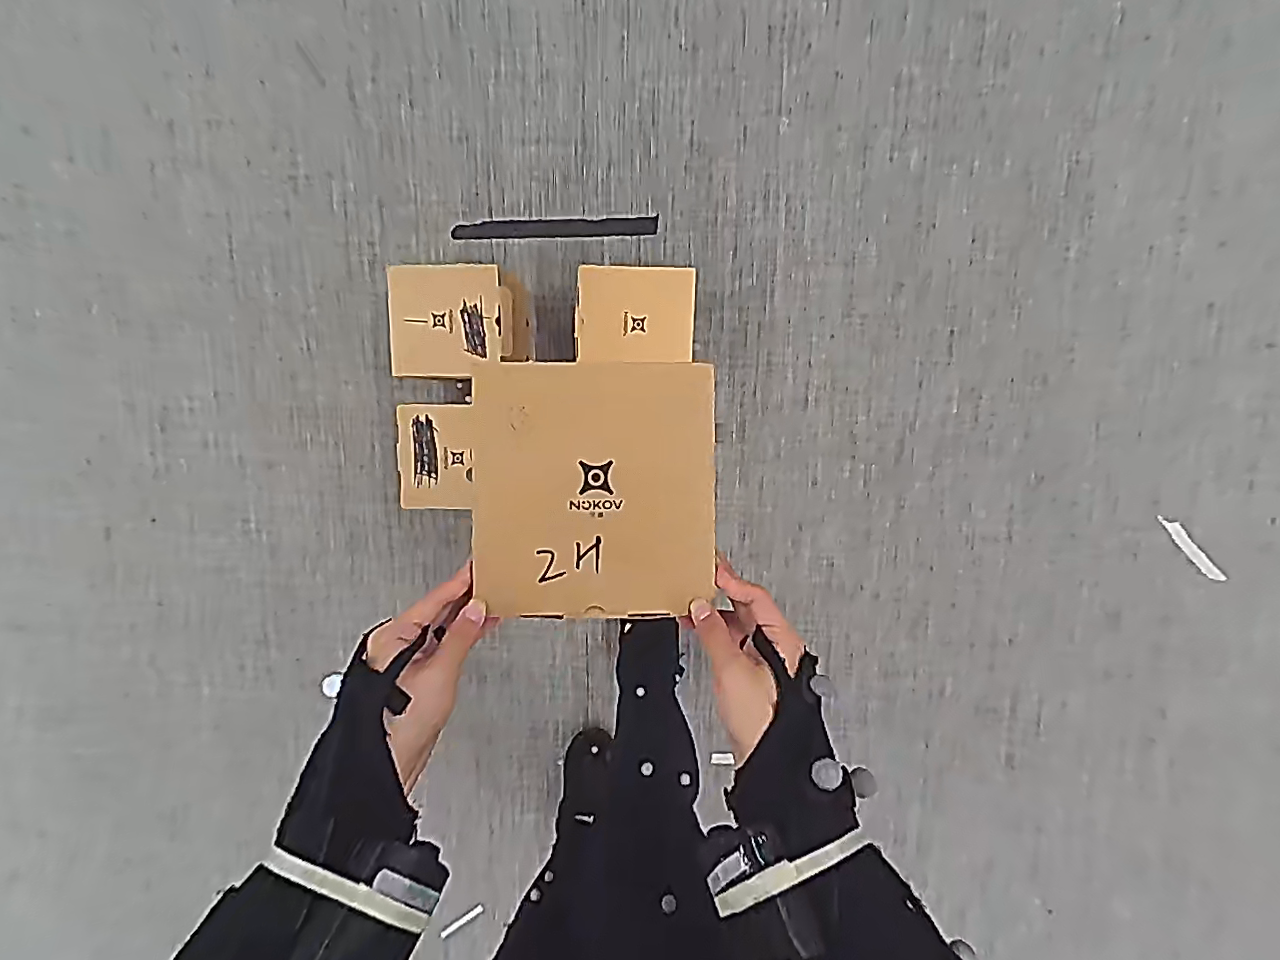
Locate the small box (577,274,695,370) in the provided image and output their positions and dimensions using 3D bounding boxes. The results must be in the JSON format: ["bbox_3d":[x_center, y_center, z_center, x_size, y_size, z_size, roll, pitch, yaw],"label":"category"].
[{"bbox_3d":[-0.004,-0.233,0.888,0.179,0.176,0.168,2,98,3],"label":"small box"}]

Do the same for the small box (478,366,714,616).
[{"bbox_3d":[-0.033,0.009,0.458,0.168,0.176,0.179,0,90,-2],"label":"small box"}]

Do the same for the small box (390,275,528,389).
[{"bbox_3d":[-0.288,-0.239,0.902,0.179,0.176,0.168,1,98,4],"label":"small box"}]
